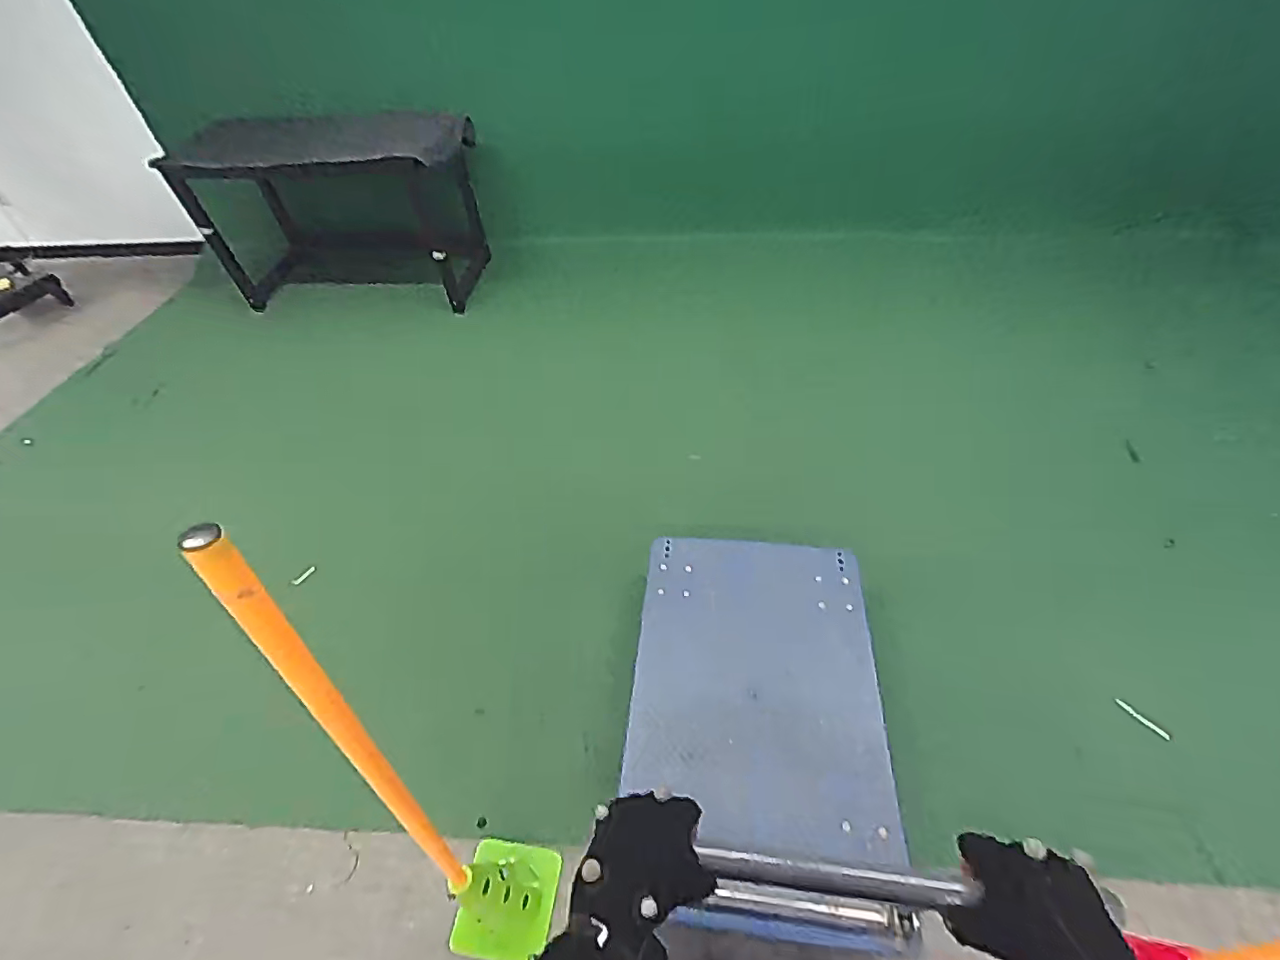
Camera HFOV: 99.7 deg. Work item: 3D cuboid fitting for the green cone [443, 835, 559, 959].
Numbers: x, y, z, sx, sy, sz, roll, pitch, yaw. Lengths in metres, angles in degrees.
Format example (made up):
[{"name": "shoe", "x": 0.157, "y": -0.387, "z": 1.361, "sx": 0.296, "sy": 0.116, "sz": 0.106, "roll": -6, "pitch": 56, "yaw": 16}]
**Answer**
[{"name": "green cone", "x": -0.301, "y": 0.787, "z": 1.053, "sx": 0.202, "sy": 0.368, "sz": 0.200, "roll": 4, "pitch": 48, "yaw": 8}]
